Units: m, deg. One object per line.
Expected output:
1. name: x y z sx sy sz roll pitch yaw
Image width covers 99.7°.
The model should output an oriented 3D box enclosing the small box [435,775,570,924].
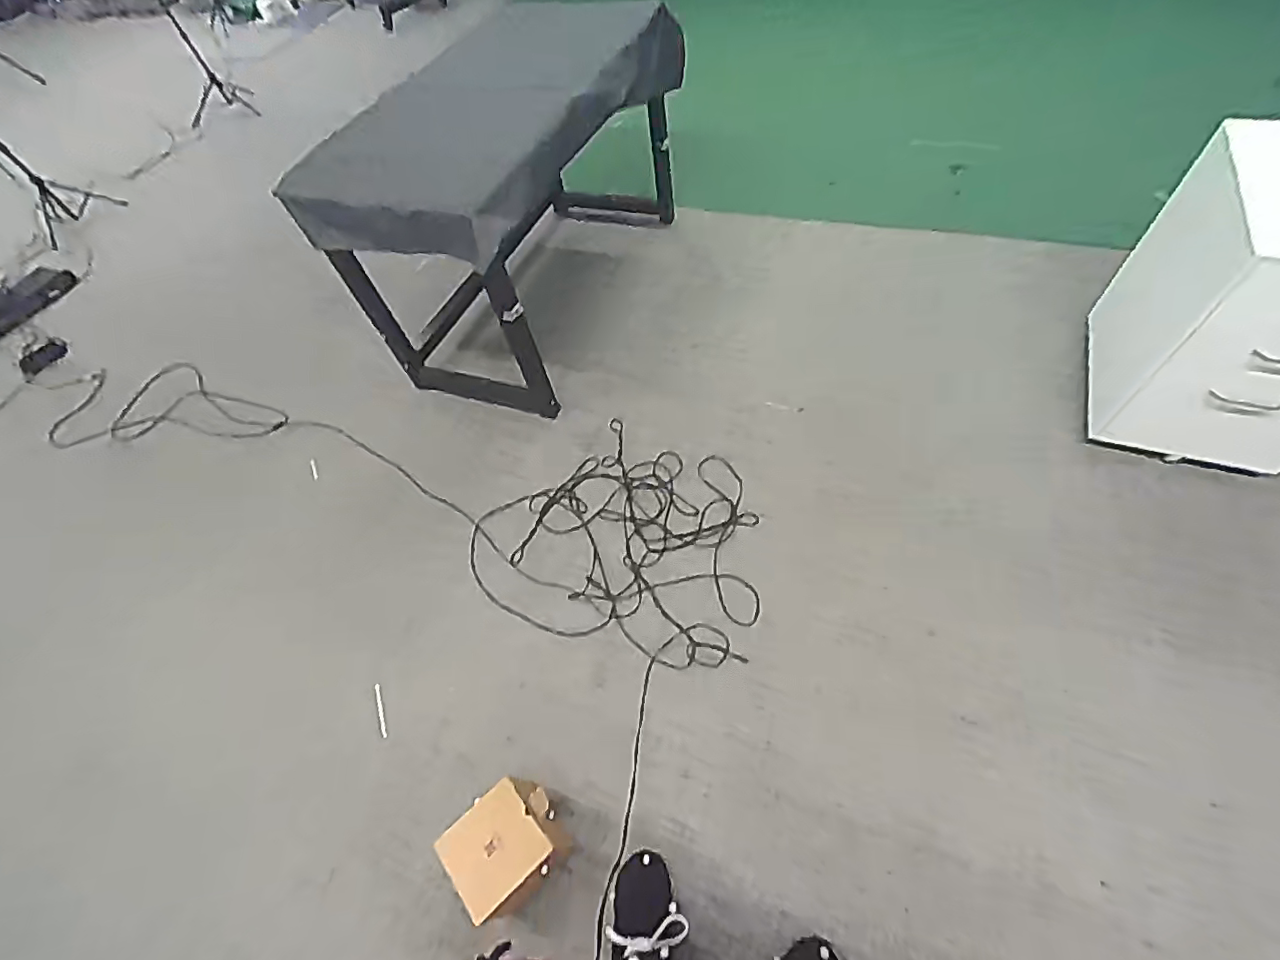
1. small box: -0.265 0.728 1.075 0.179 0.176 0.168 -39 60 -18
